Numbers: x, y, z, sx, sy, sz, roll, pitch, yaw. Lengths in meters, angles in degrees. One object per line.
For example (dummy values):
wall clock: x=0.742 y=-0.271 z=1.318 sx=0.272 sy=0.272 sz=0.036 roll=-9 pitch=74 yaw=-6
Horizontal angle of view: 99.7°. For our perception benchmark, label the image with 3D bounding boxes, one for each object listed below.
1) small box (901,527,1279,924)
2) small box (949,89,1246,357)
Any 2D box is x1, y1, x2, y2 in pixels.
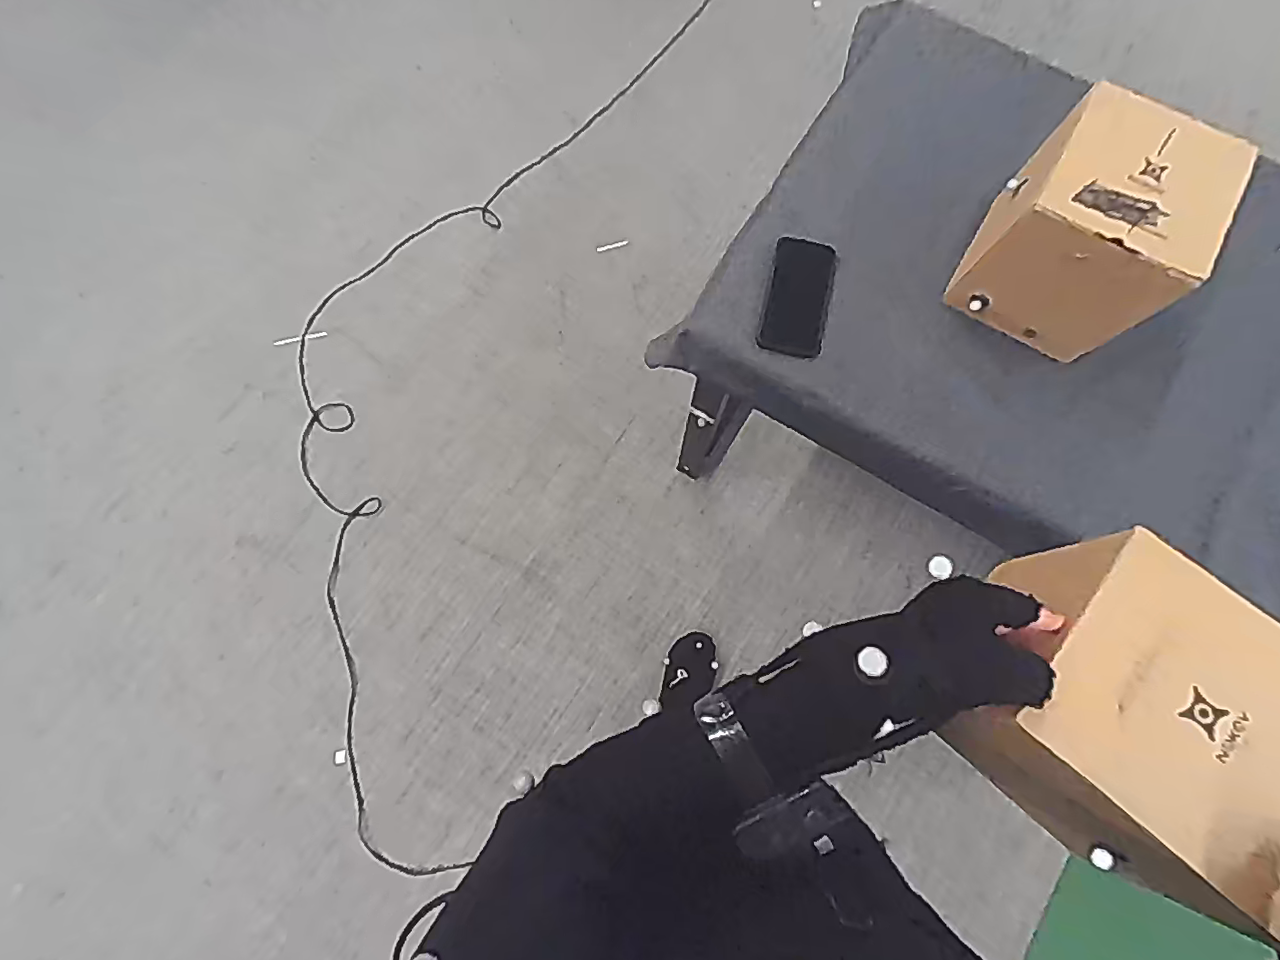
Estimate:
small box: x=0.347 y=0.166 z=0.415 sx=0.179 sy=0.176 sz=0.168 roll=40 pitch=75 yaw=13
small box: x=0.486 y=-0.271 z=0.605 sx=0.168 sy=0.176 sz=0.179 roll=31 pitch=78 yaw=6
